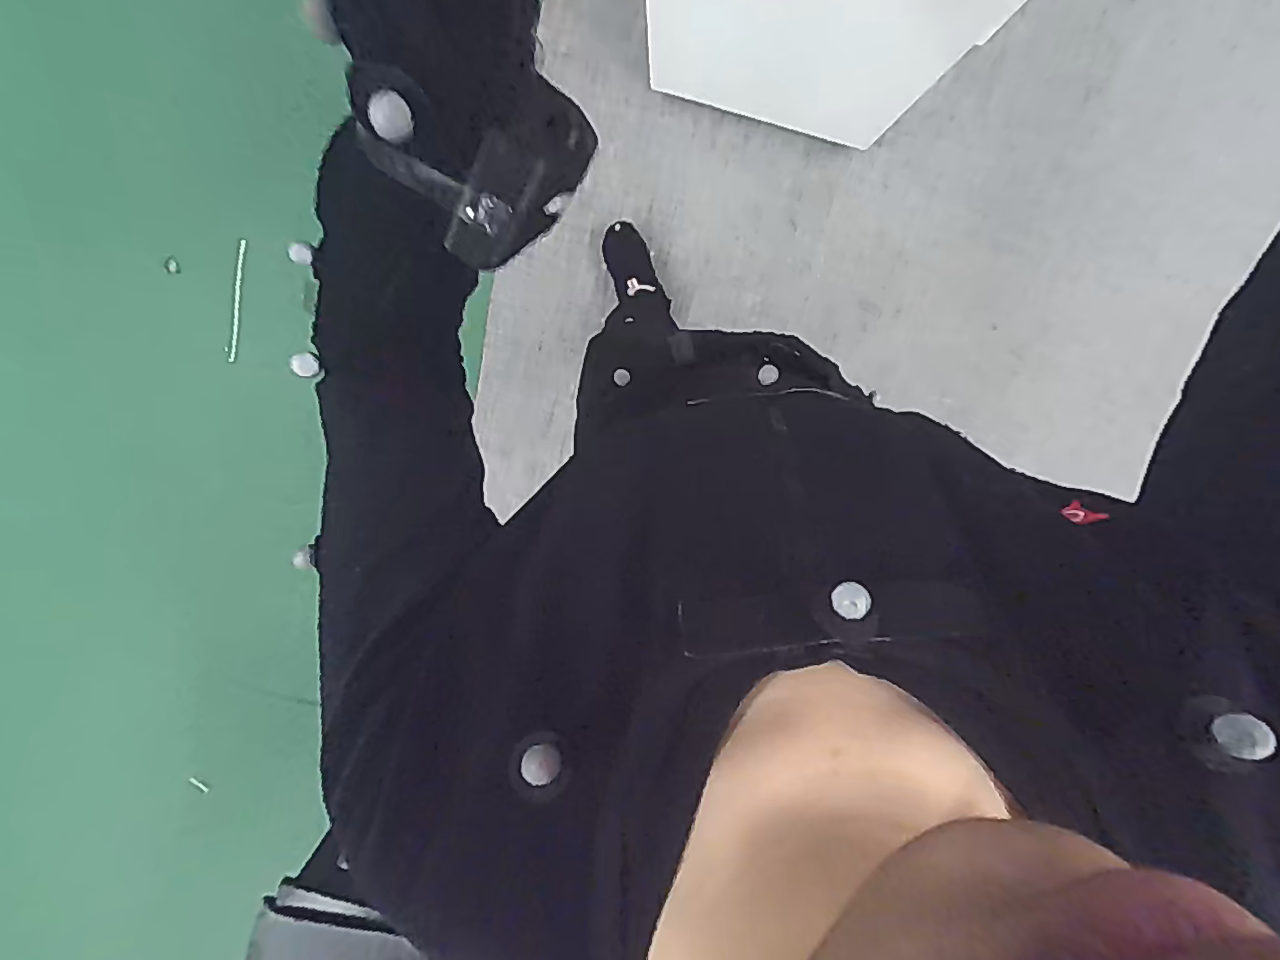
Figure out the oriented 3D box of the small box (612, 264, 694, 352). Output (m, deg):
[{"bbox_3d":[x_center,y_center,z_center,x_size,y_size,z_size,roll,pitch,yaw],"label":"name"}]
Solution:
[{"bbox_3d":[0.030,-0.420,1.306,0.168,0.176,0.179,-9,115,-8],"label":"small box"}]
